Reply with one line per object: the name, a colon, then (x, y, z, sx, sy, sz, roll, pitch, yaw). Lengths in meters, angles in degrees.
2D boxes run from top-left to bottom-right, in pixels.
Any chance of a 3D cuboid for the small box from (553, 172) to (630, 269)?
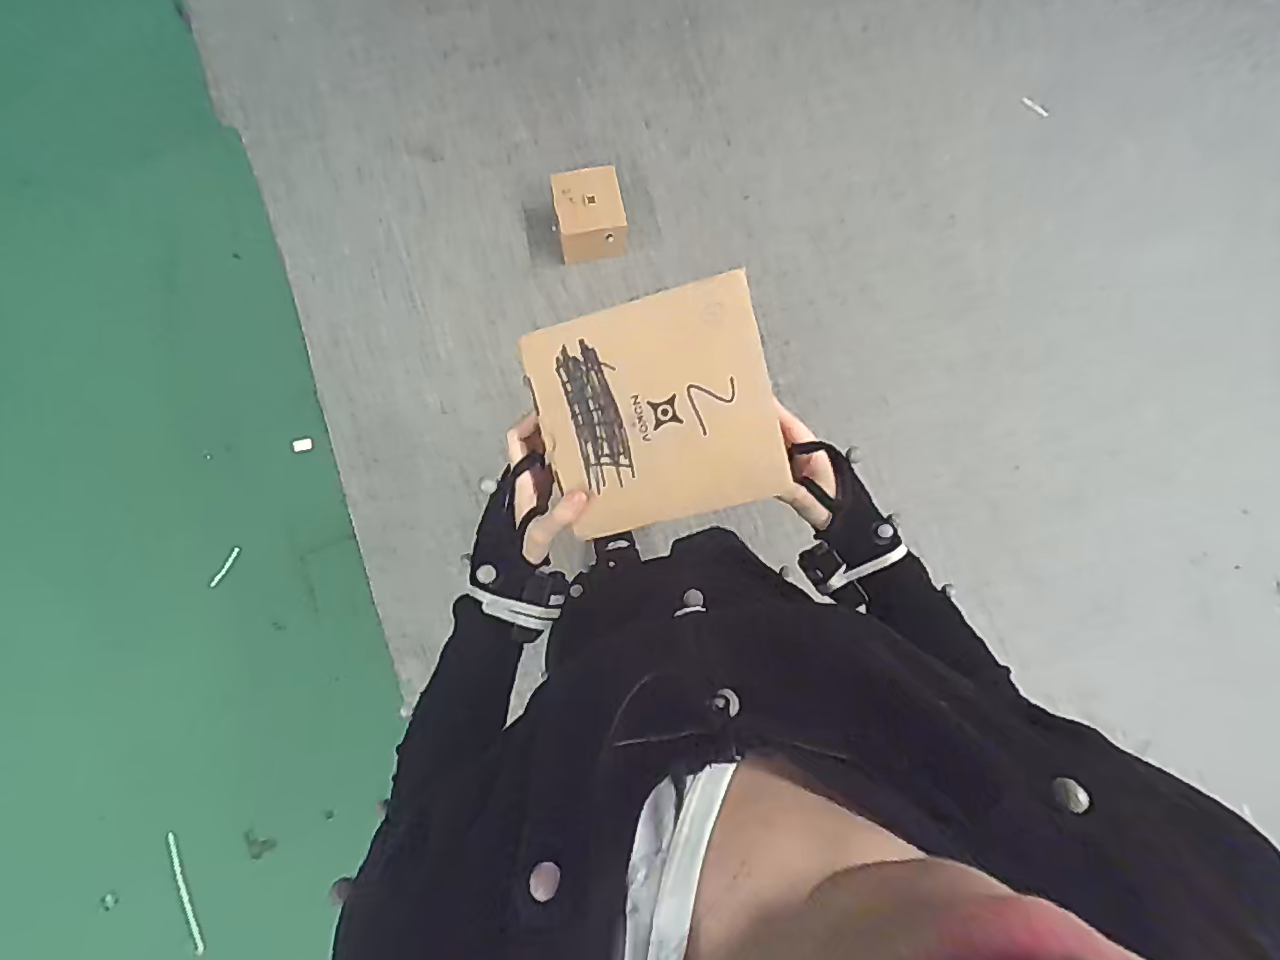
small box: (-0.132, -0.699, 1.471, 0.179, 0.176, 0.168, -12, 87, -4)
